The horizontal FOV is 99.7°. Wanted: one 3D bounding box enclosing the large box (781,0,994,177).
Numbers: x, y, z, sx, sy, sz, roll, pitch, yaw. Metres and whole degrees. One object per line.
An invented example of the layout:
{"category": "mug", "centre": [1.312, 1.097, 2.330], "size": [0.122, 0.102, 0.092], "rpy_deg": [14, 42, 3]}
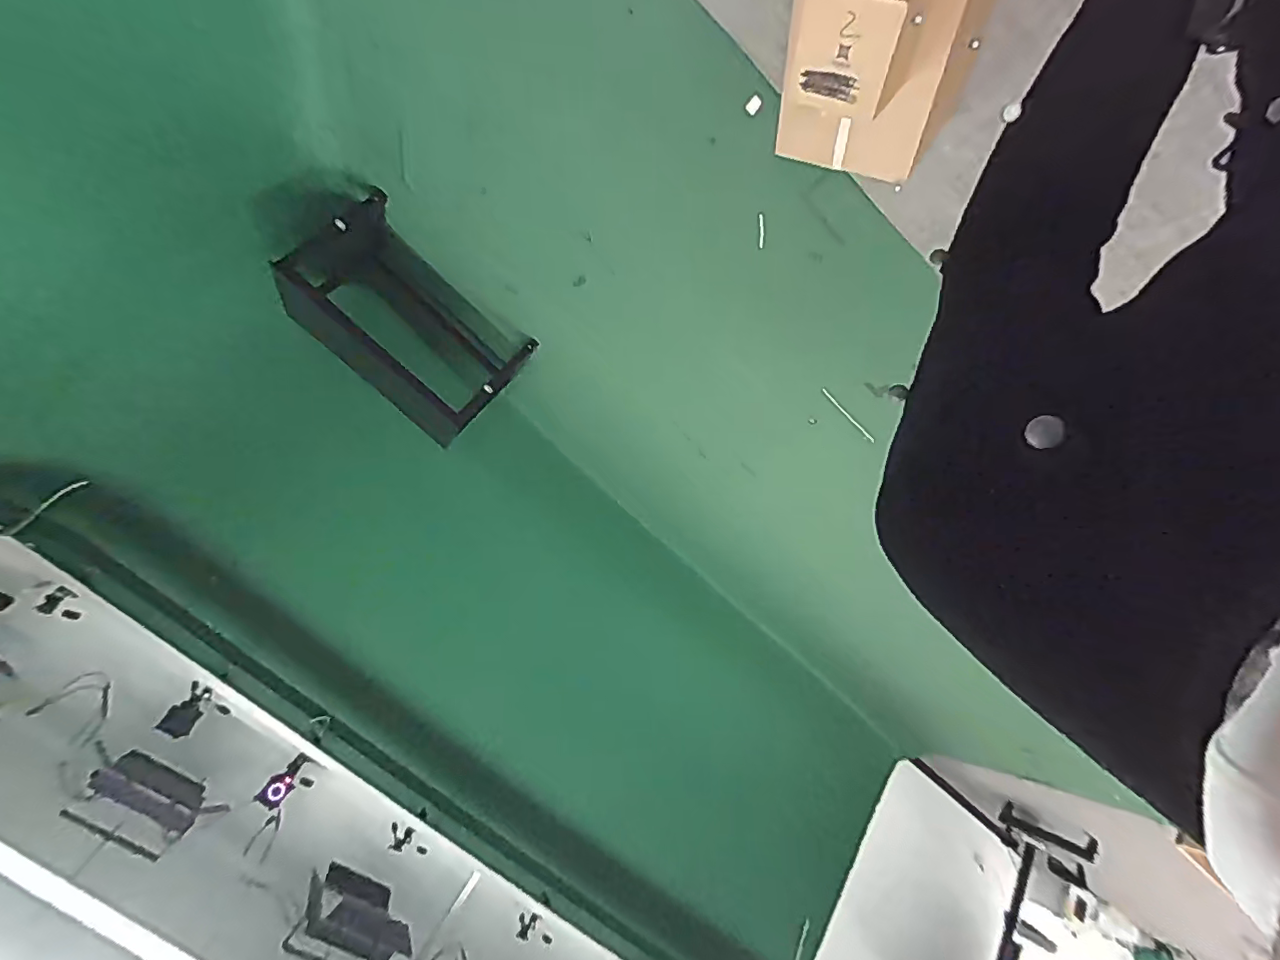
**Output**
{"category": "large box", "centre": [0.517, -0.929, 1.108], "size": [0.320, 0.320, 0.408], "rpy_deg": [29, 157, 22]}
